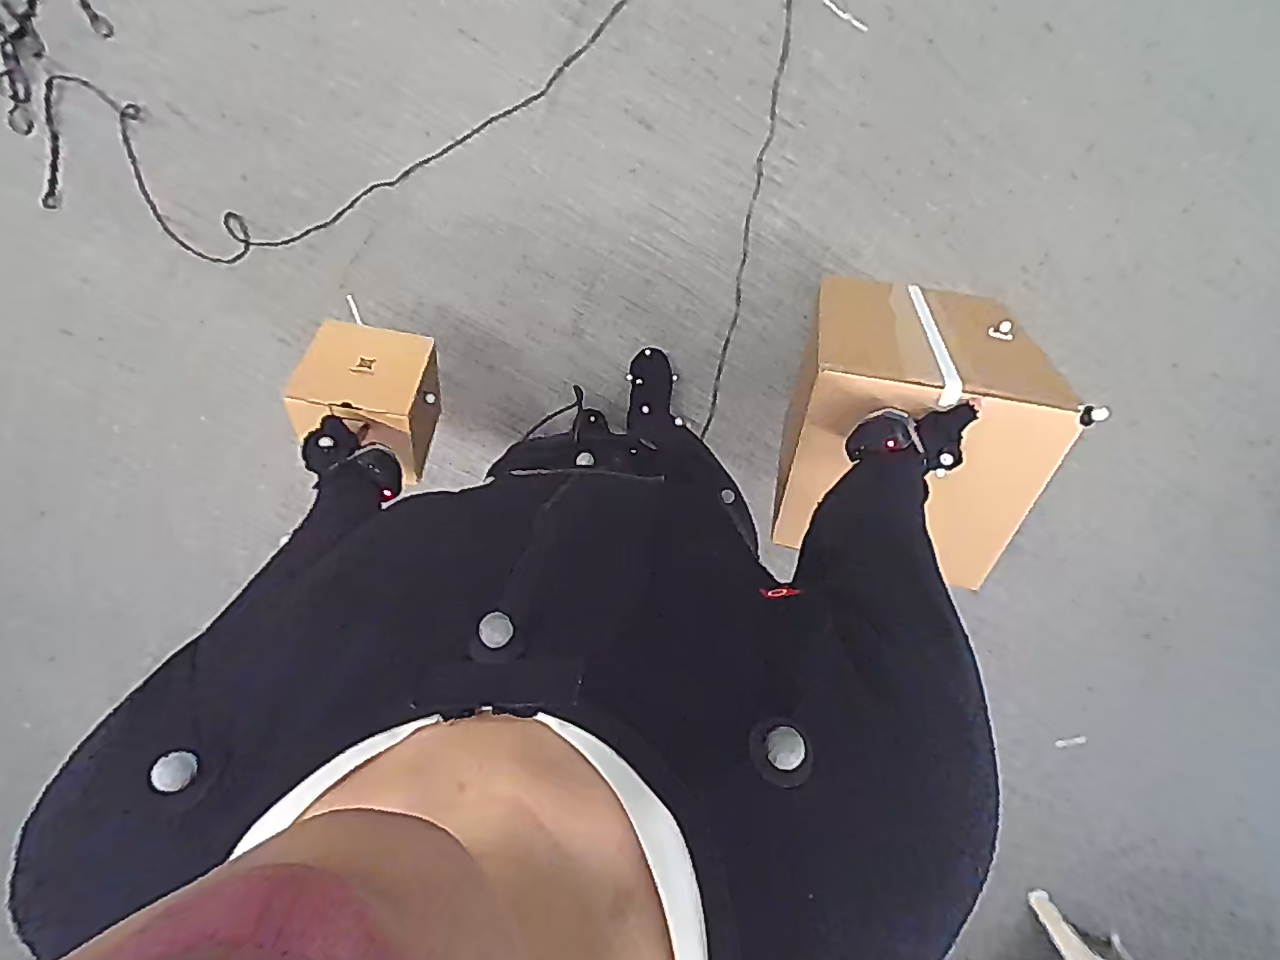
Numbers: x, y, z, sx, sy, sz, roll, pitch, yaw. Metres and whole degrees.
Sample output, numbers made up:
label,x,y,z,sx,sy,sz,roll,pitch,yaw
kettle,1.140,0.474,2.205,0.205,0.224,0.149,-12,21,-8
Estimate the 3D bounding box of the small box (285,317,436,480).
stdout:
label,x,y,z,sx,sy,sz,roll,pitch,yaw
small box,-0.429,-0.125,0.865,0.168,0.179,0.176,8,143,-12
